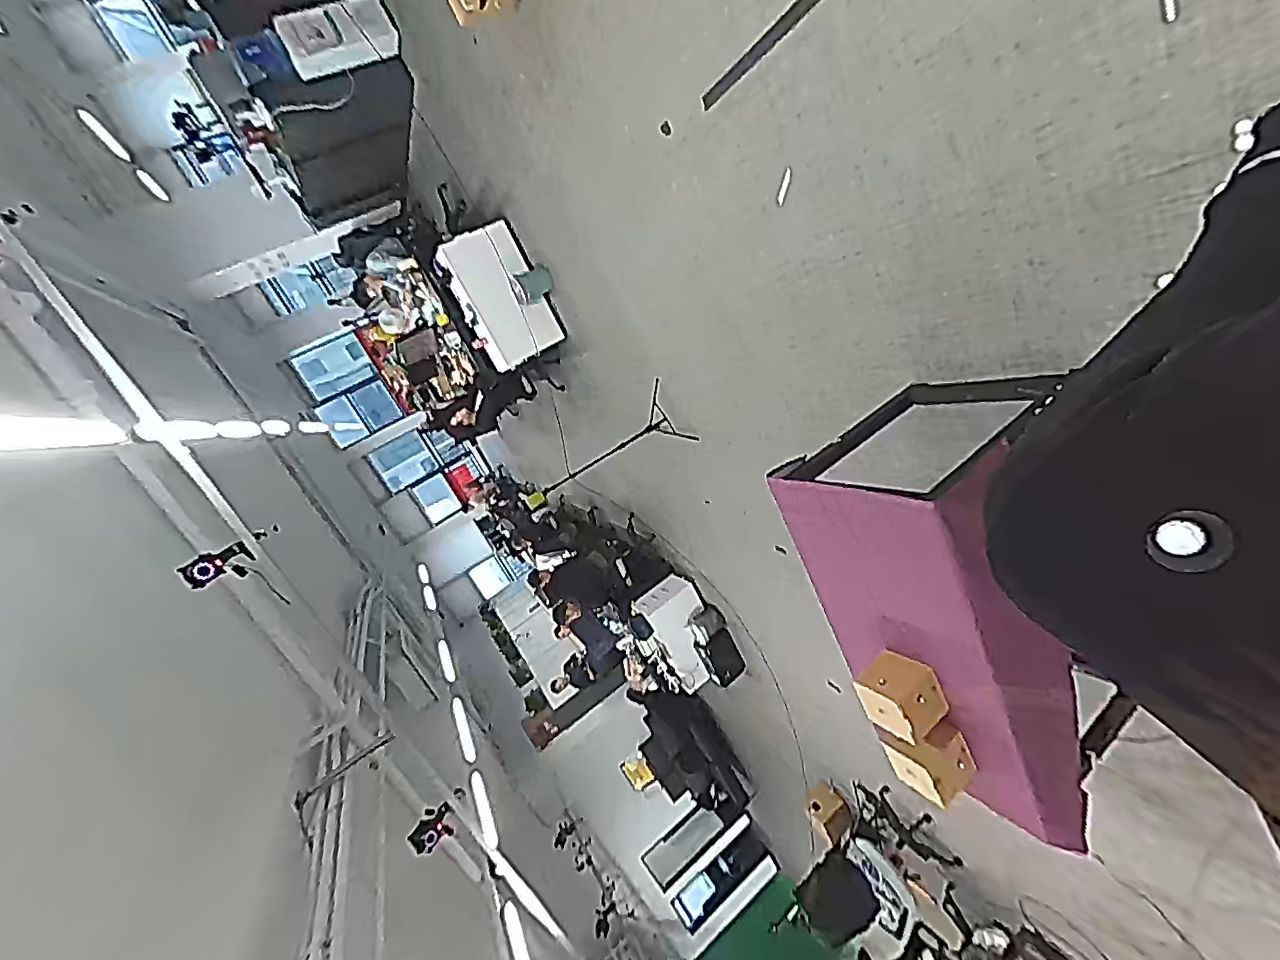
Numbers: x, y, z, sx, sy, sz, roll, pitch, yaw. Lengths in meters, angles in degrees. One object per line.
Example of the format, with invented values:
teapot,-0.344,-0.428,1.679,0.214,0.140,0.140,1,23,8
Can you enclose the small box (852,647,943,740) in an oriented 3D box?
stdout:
small box,0.797,0.644,1.659,0.168,0.176,0.179,62,161,-15

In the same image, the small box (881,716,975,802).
small box,0.913,0.860,1.714,0.168,0.176,0.179,61,161,-14
